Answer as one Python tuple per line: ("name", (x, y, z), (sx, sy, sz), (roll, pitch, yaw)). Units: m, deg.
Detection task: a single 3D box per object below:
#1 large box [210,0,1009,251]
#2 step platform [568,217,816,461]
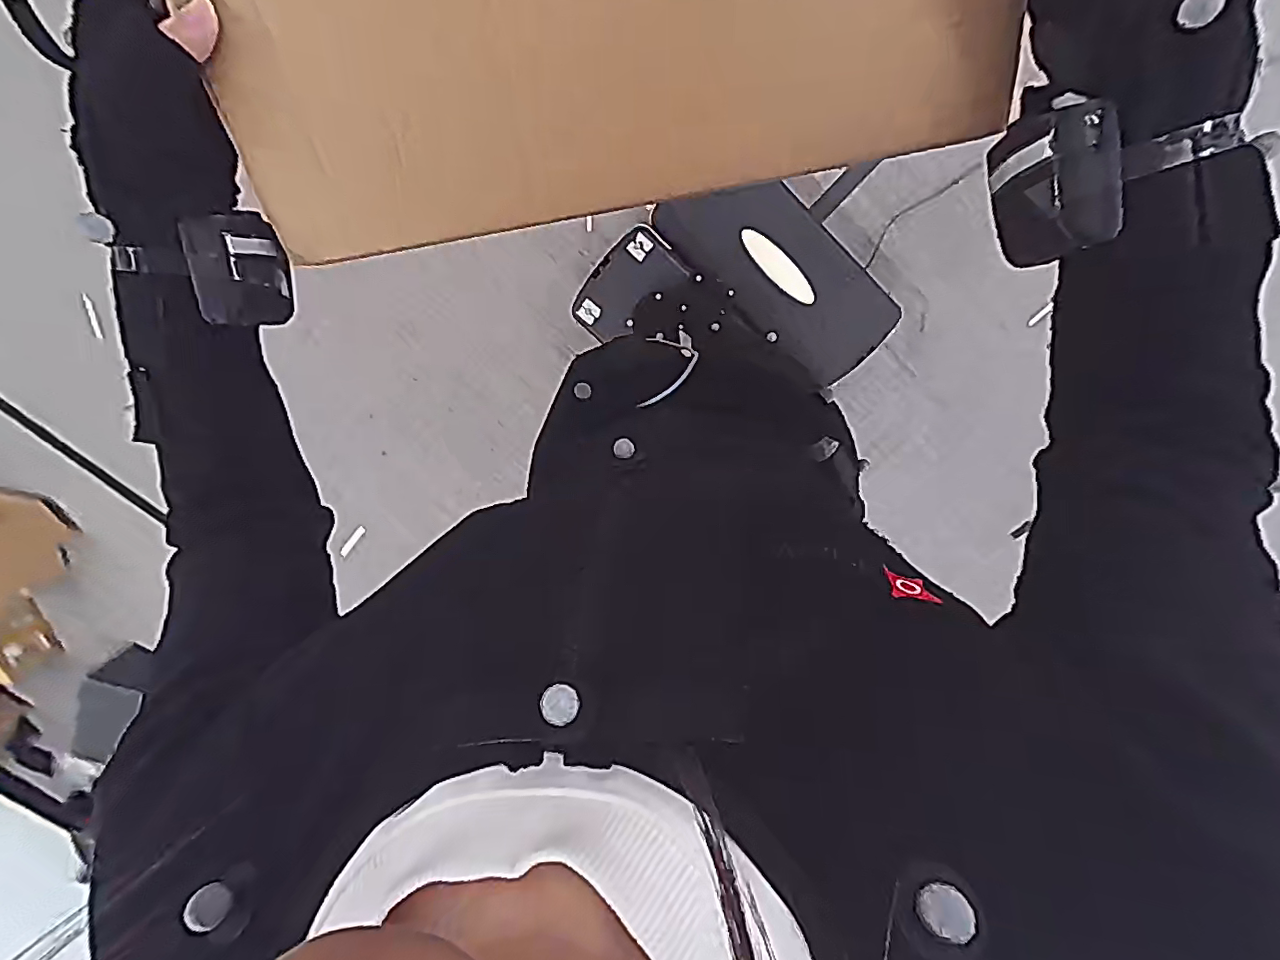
("large box", (-0.023, -0.371, 0.370), (0.408, 0.320, 0.320), (-6, 120, 9))
("step platform", (0.142, -0.361, 1.439), (0.684, 0.204, 0.286), (40, 111, -9))
